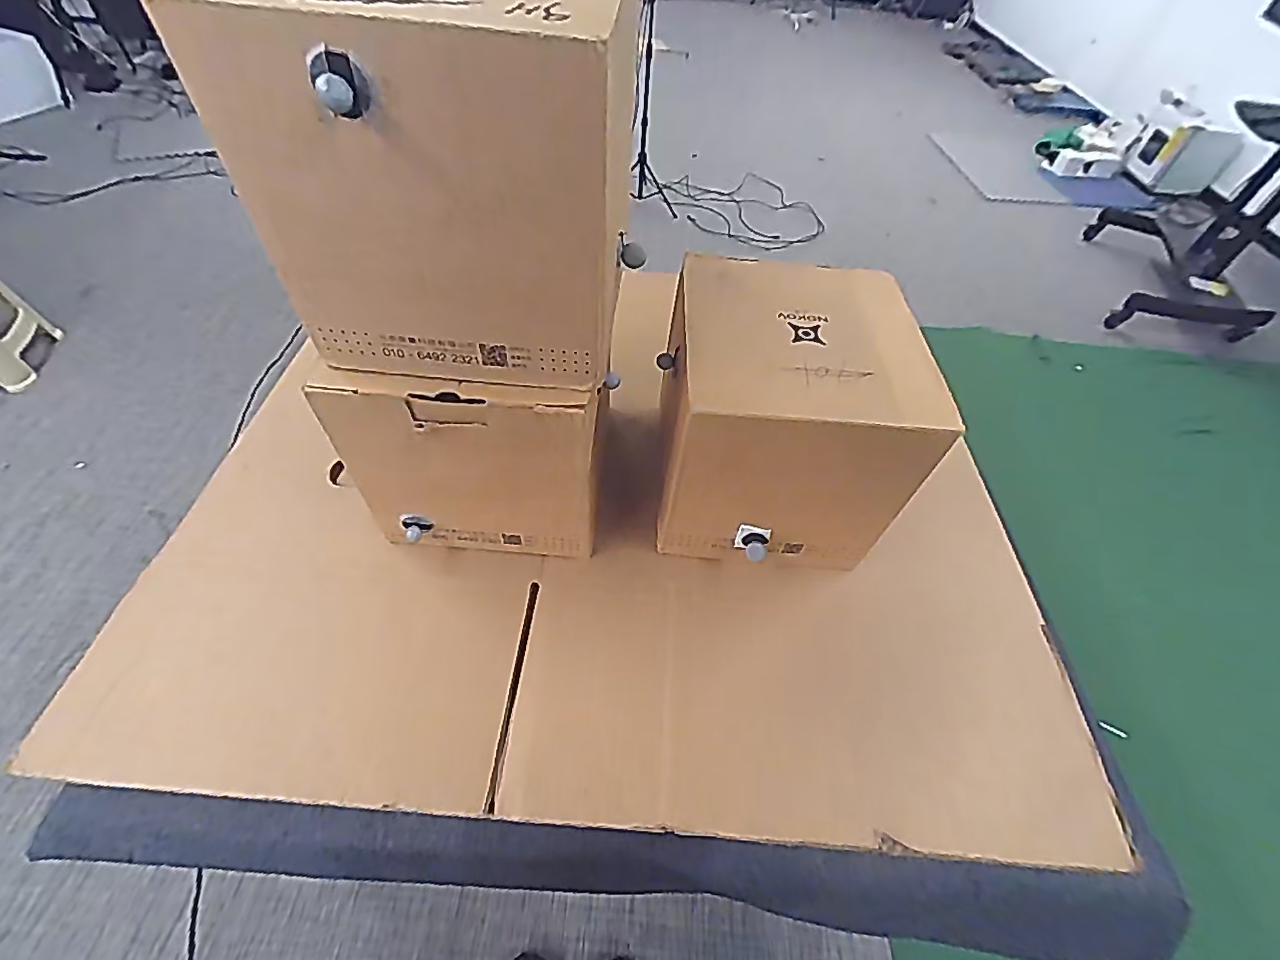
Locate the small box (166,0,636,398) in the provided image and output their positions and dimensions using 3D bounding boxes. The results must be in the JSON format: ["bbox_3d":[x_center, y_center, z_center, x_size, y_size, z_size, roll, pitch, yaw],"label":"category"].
[{"bbox_3d":[-0.096,-0.174,0.314,0.168,0.176,0.179,5,51,0],"label":"small box"}]
